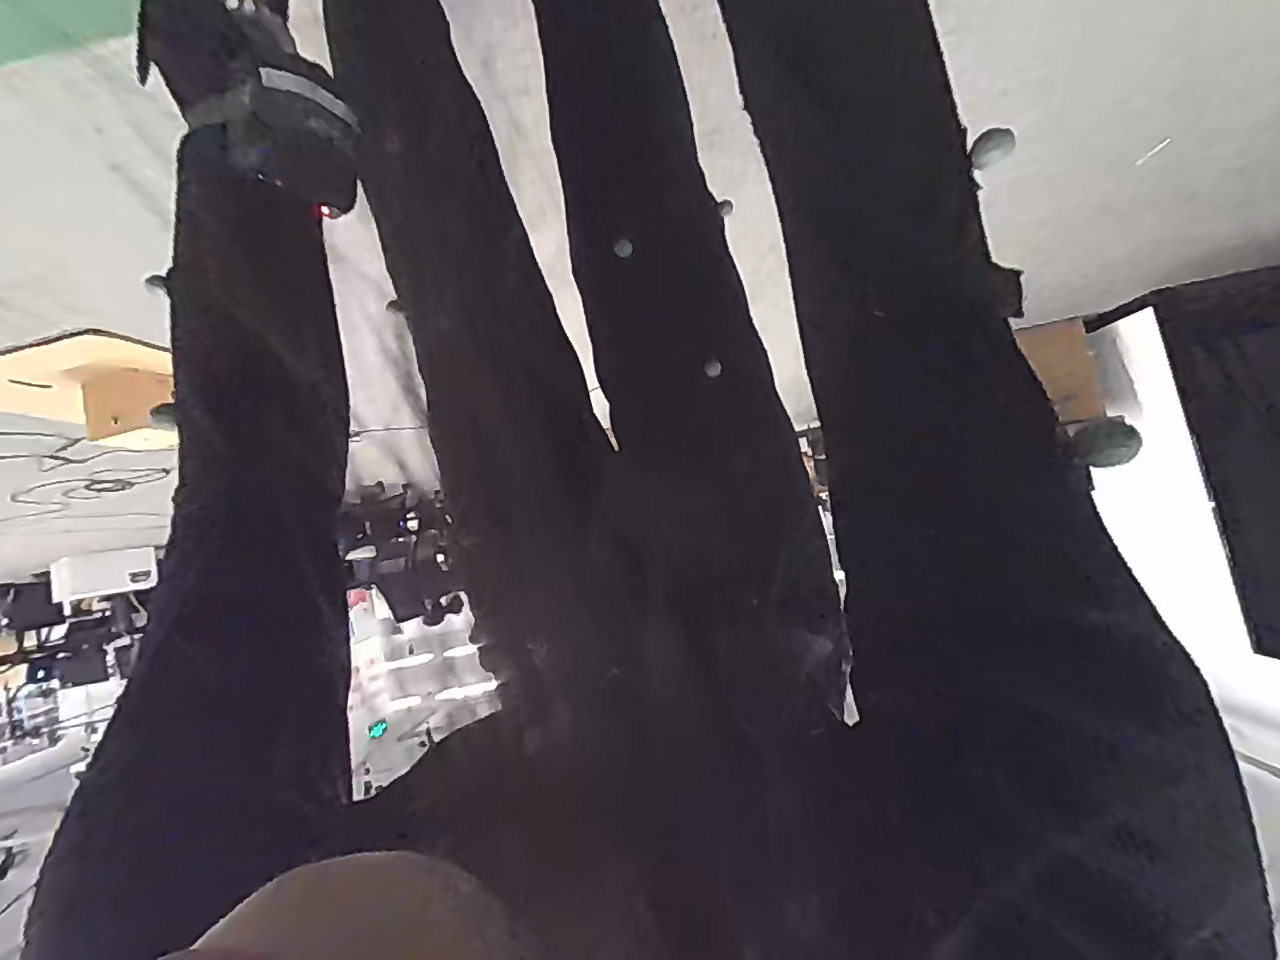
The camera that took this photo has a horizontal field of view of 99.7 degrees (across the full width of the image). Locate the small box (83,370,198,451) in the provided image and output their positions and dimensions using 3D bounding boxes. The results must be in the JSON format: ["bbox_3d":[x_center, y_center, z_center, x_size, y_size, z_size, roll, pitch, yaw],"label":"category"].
[{"bbox_3d":[-1.382,-0.189,1.497,0.179,0.176,0.168,-13,175,7],"label":"small box"}]
